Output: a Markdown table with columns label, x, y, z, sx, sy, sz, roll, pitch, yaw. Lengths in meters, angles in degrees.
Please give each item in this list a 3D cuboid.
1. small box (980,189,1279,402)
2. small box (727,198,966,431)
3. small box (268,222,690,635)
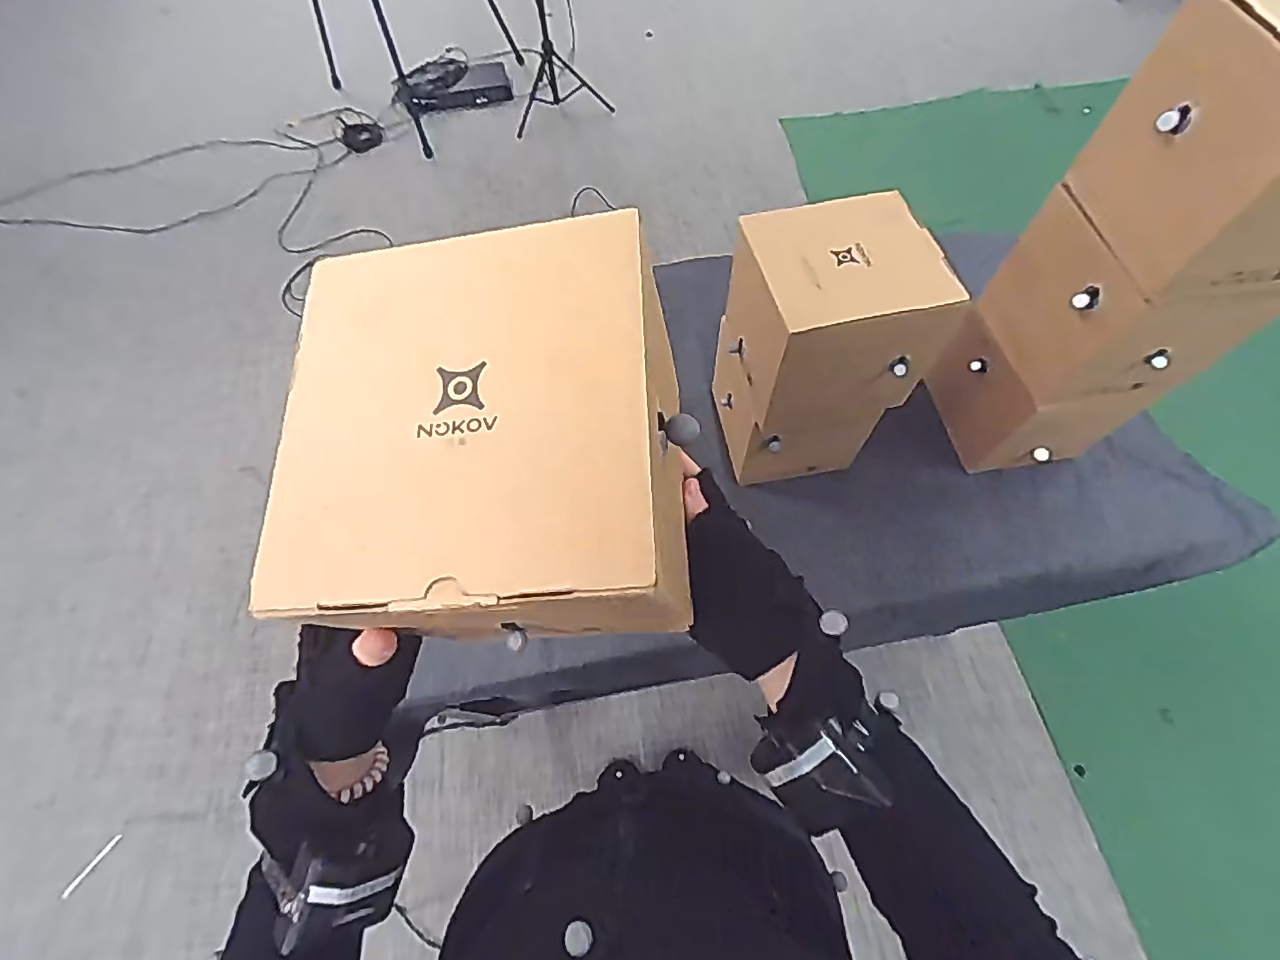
| label | x | y | z | sx | sy | sz | roll | pitch | yaw |
| --- | --- | --- | --- | --- | --- | --- | --- | --- | --- |
| small box | 0.527 | -0.201 | 0.601 | 0.168 | 0.176 | 0.179 | -7 | 62 | -1 |
| small box | 0.208 | -0.175 | 0.603 | 0.179 | 0.176 | 0.168 | -11 | 62 | -3 |
| small box | -0.061 | -0.009 | 0.312 | 0.168 | 0.176 | 0.179 | -5 | 71 | 8 |
